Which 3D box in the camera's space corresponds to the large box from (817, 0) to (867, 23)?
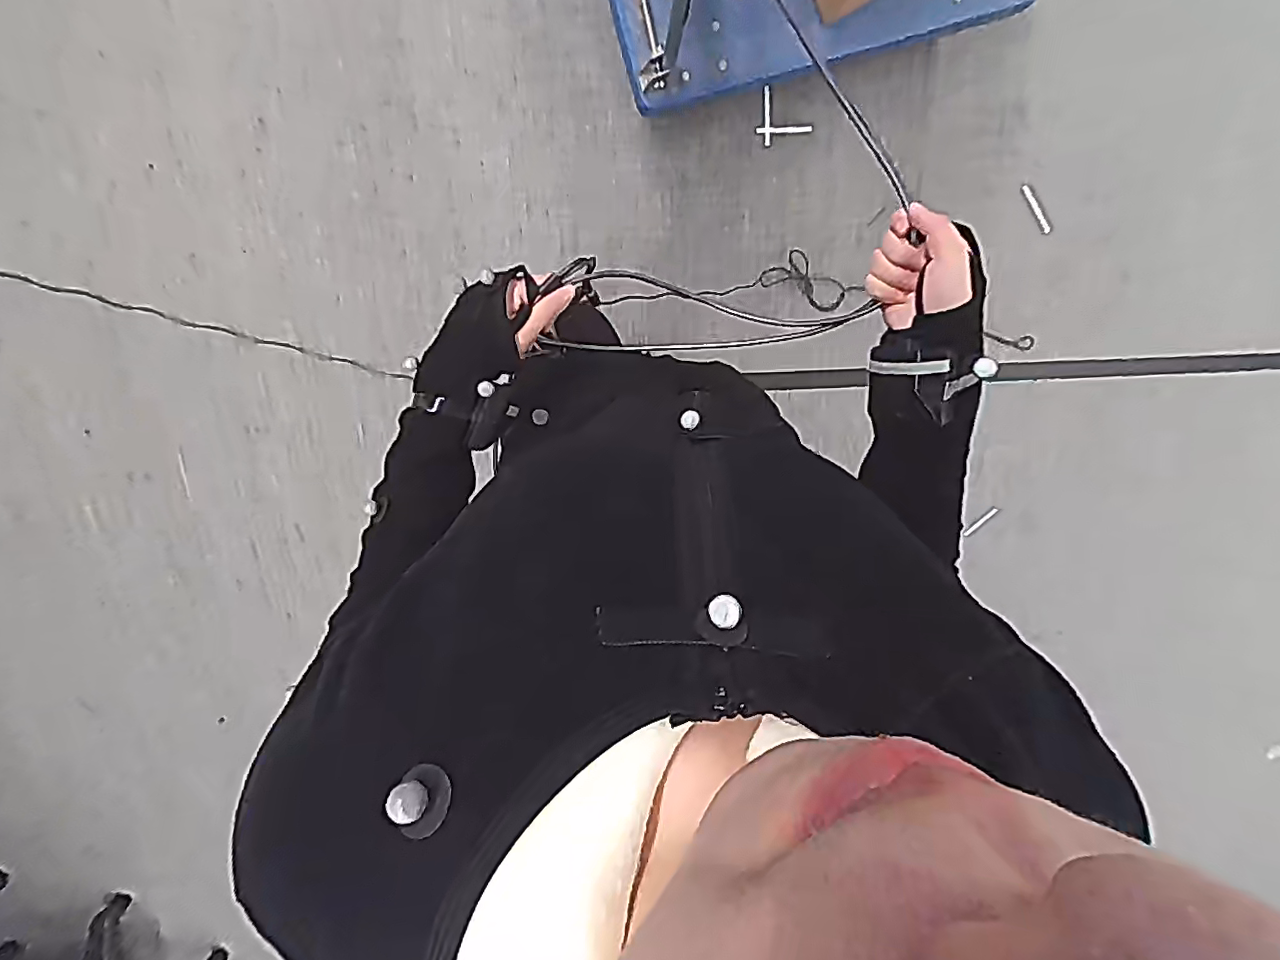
[{"bbox_3d":[0.421,-1.115,0.889,0.320,0.320,0.408,-29,107,5],"label":"large box"}]
